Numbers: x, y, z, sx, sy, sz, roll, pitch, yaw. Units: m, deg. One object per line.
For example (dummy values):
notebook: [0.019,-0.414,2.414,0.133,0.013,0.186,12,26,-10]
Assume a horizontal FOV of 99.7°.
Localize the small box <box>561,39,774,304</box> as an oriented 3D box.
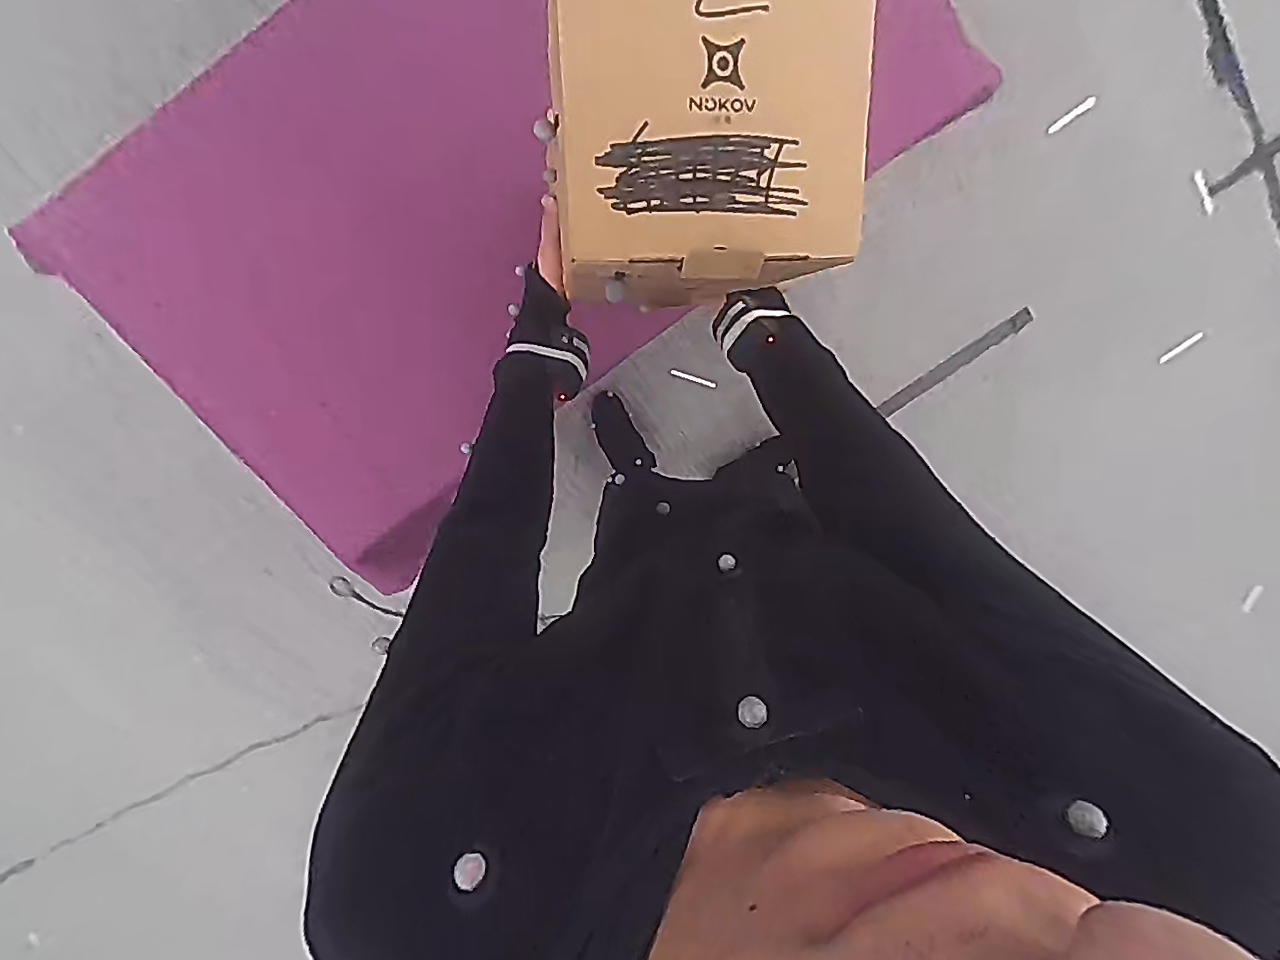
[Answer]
small box: [0.014,-0.264,0.508,0.168,0.176,0.179,-4,104,-8]
